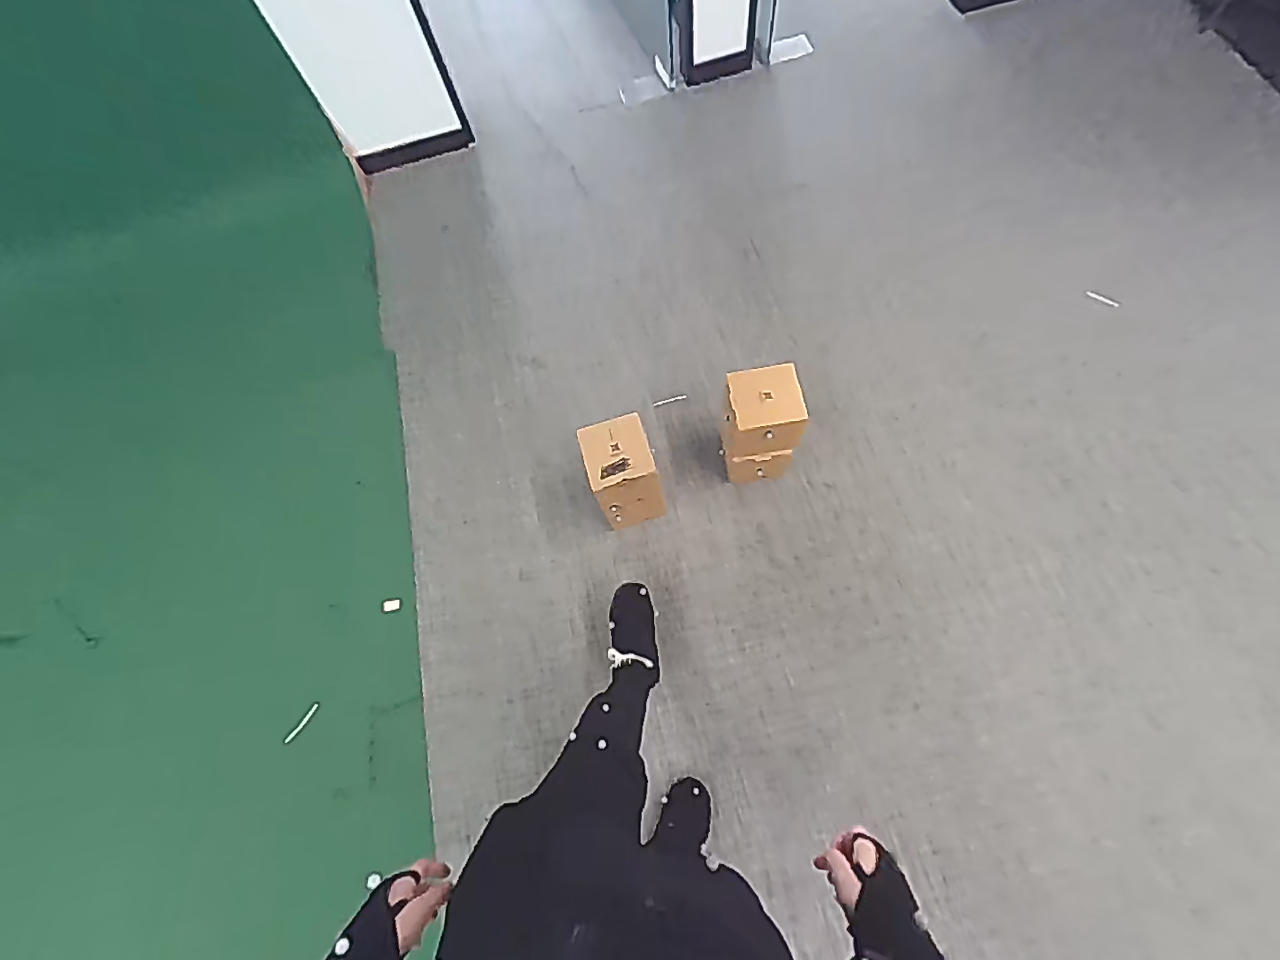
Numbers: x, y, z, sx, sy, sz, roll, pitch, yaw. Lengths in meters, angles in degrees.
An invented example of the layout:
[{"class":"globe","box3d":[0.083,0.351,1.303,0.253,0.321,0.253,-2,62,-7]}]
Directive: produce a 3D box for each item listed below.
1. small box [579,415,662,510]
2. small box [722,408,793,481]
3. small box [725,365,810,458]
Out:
[{"class":"small box","box3d":[-0.046,-0.035,1.402,0.168,0.176,0.179,-17,67,-1]},{"class":"small box","box3d":[0.334,-0.106,1.564,0.168,0.176,0.179,-8,69,2]},{"class":"small box","box3d":[0.326,-0.174,1.416,0.179,0.176,0.168,-10,68,3]}]
